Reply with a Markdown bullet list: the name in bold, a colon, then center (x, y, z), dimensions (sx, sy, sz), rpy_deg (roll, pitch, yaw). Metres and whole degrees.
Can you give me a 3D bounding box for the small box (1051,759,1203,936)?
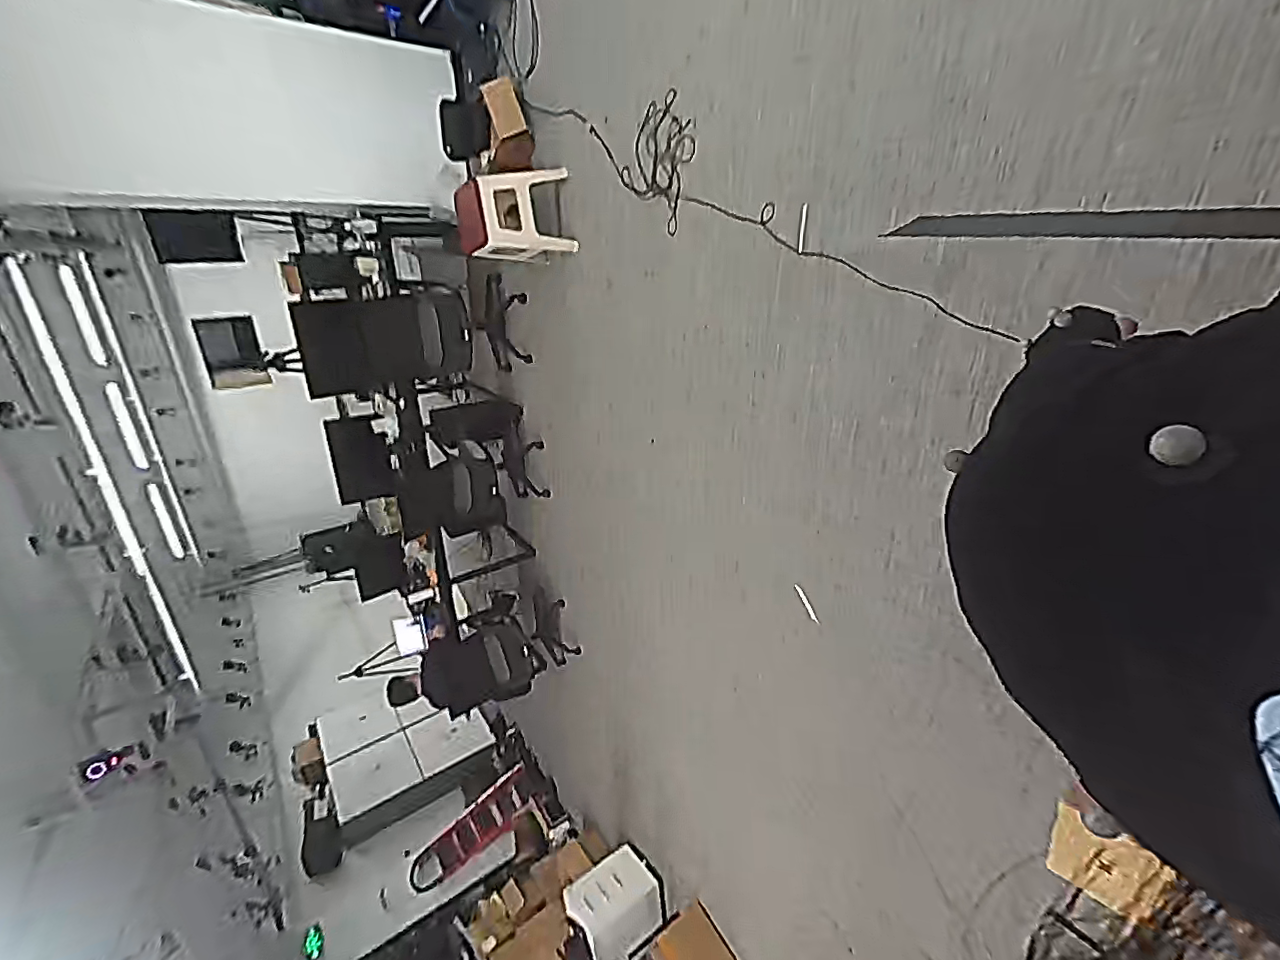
- **small box**: center (0.911, 0.675, 1.015), dimensions (0.168, 0.176, 0.179), rpy_deg (19, 119, 52)
